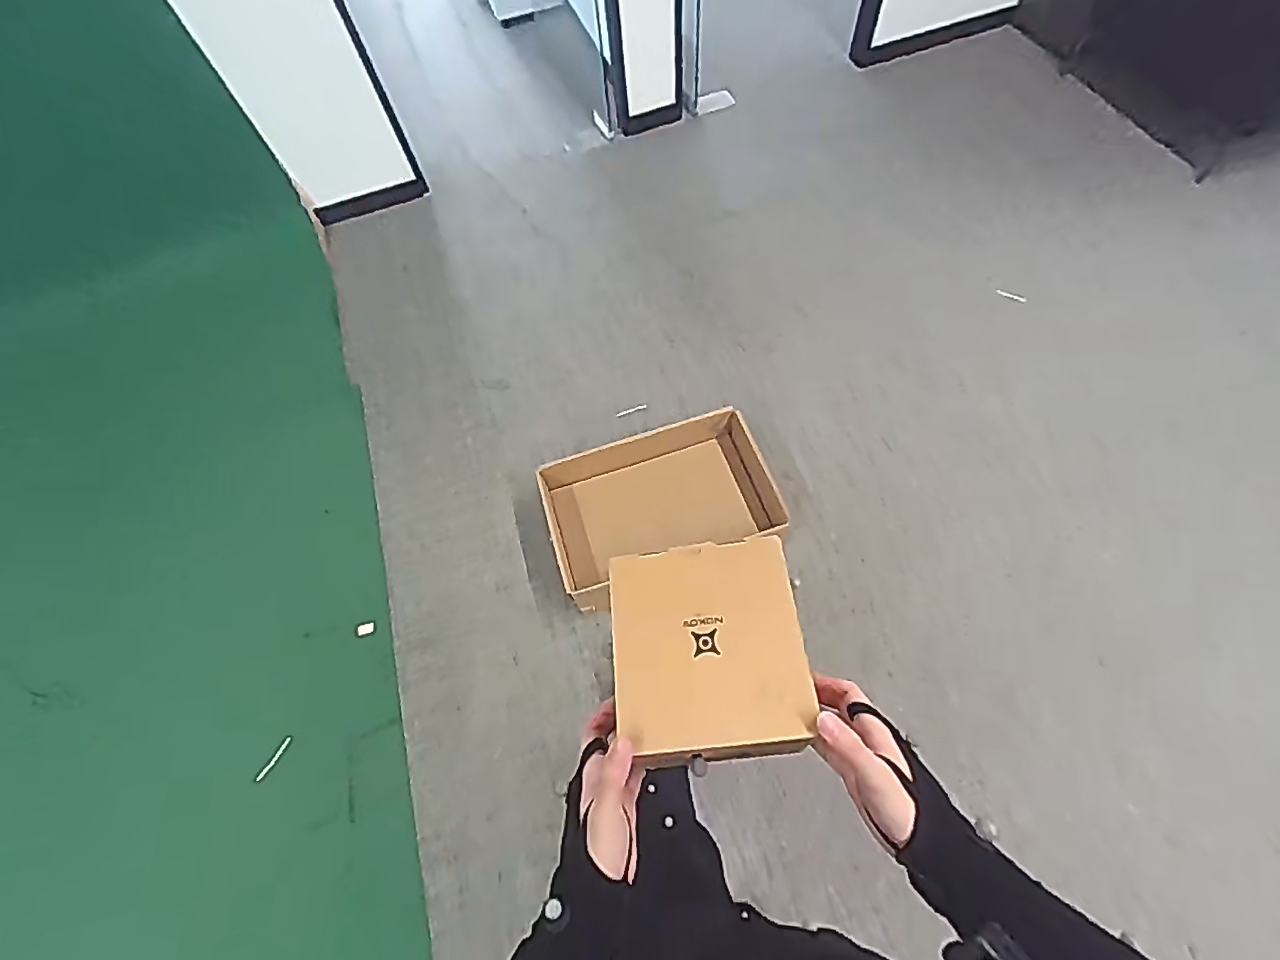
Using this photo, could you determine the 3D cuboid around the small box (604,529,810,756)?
[{"bbox_3d":[0.063,0.171,0.541,0.168,0.176,0.179,-8,57,6],"label":"small box"}]
